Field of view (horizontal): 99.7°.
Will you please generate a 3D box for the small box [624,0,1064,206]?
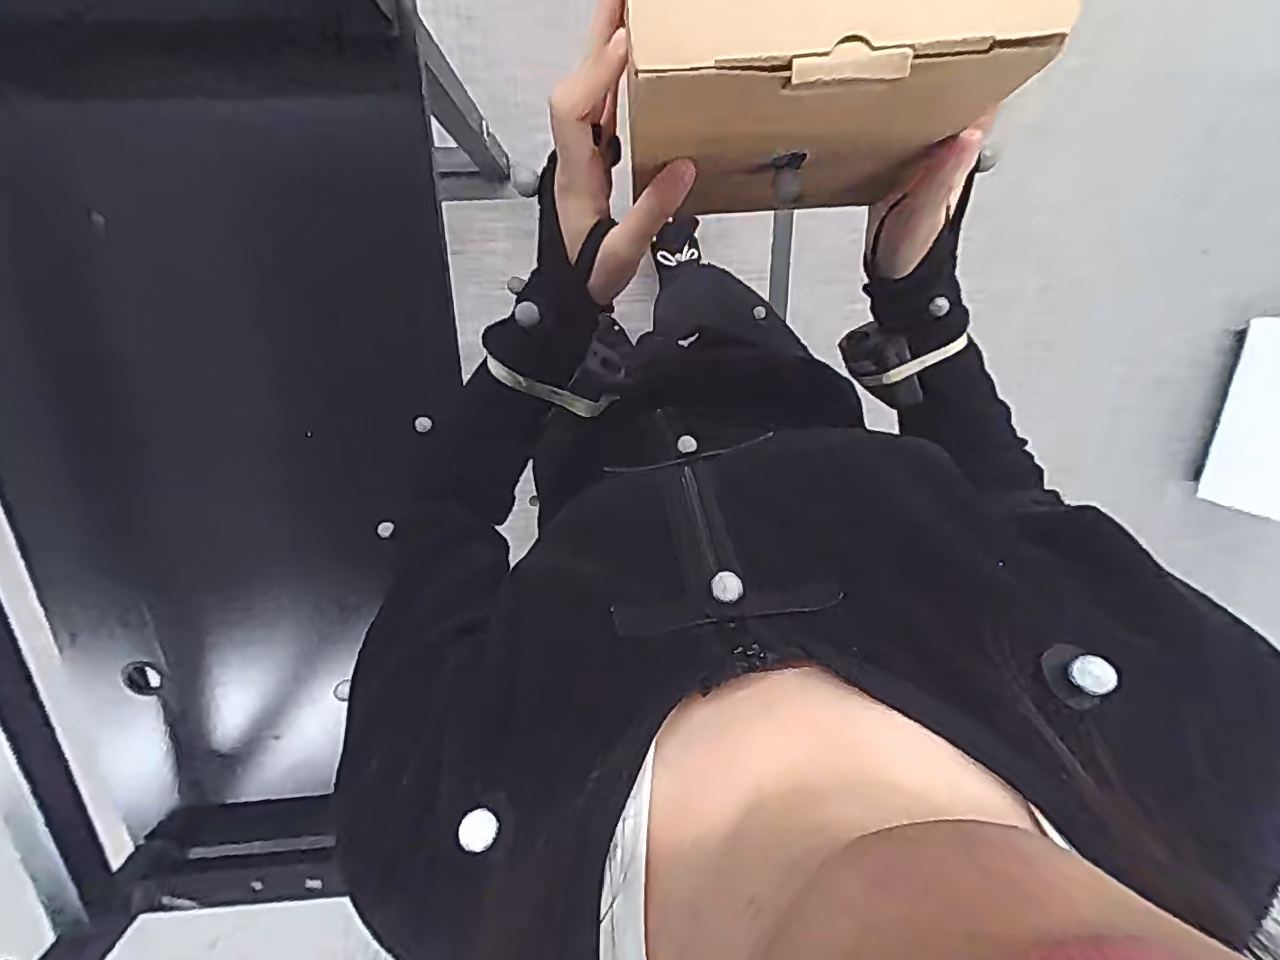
[{"bbox_3d":[0.075,-0.252,0.271,0.168,0.176,0.179,-3,99,0],"label":"small box"}]
